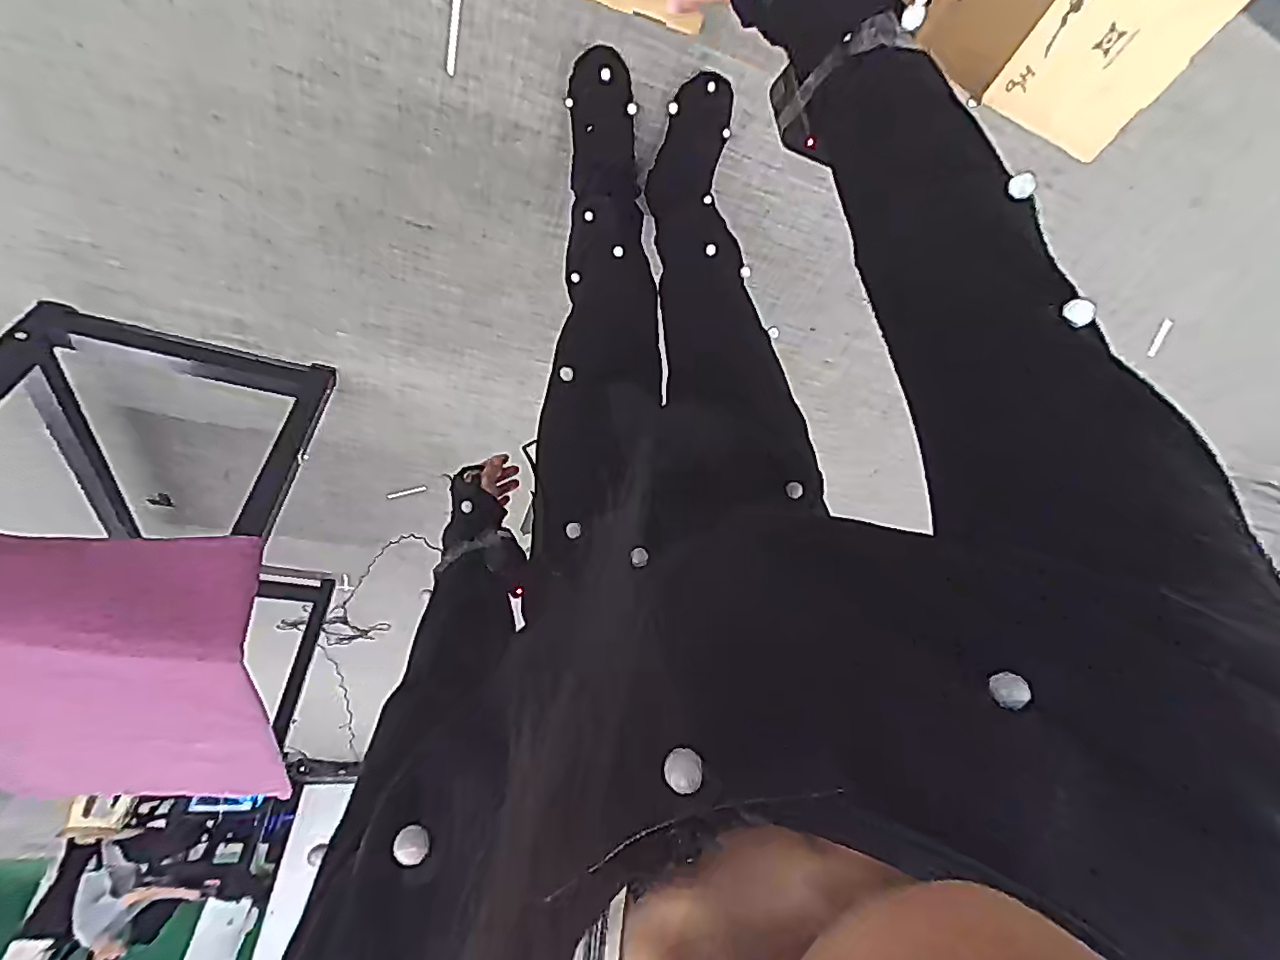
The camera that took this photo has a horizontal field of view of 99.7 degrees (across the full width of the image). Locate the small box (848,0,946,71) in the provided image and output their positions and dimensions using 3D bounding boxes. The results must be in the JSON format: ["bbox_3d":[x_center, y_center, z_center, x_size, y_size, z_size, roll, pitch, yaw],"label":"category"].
[{"bbox_3d":[0.408,-0.732,0.761,0.179,0.176,0.168,13,138,-22],"label":"small box"}]

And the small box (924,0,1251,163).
[{"bbox_3d":[0.443,-0.477,0.561,0.179,0.176,0.168,10,140,-22],"label":"small box"}]

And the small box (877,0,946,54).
[{"bbox_3d":[0.424,-0.613,0.652,0.168,0.176,0.179,10,140,-19],"label":"small box"}]
